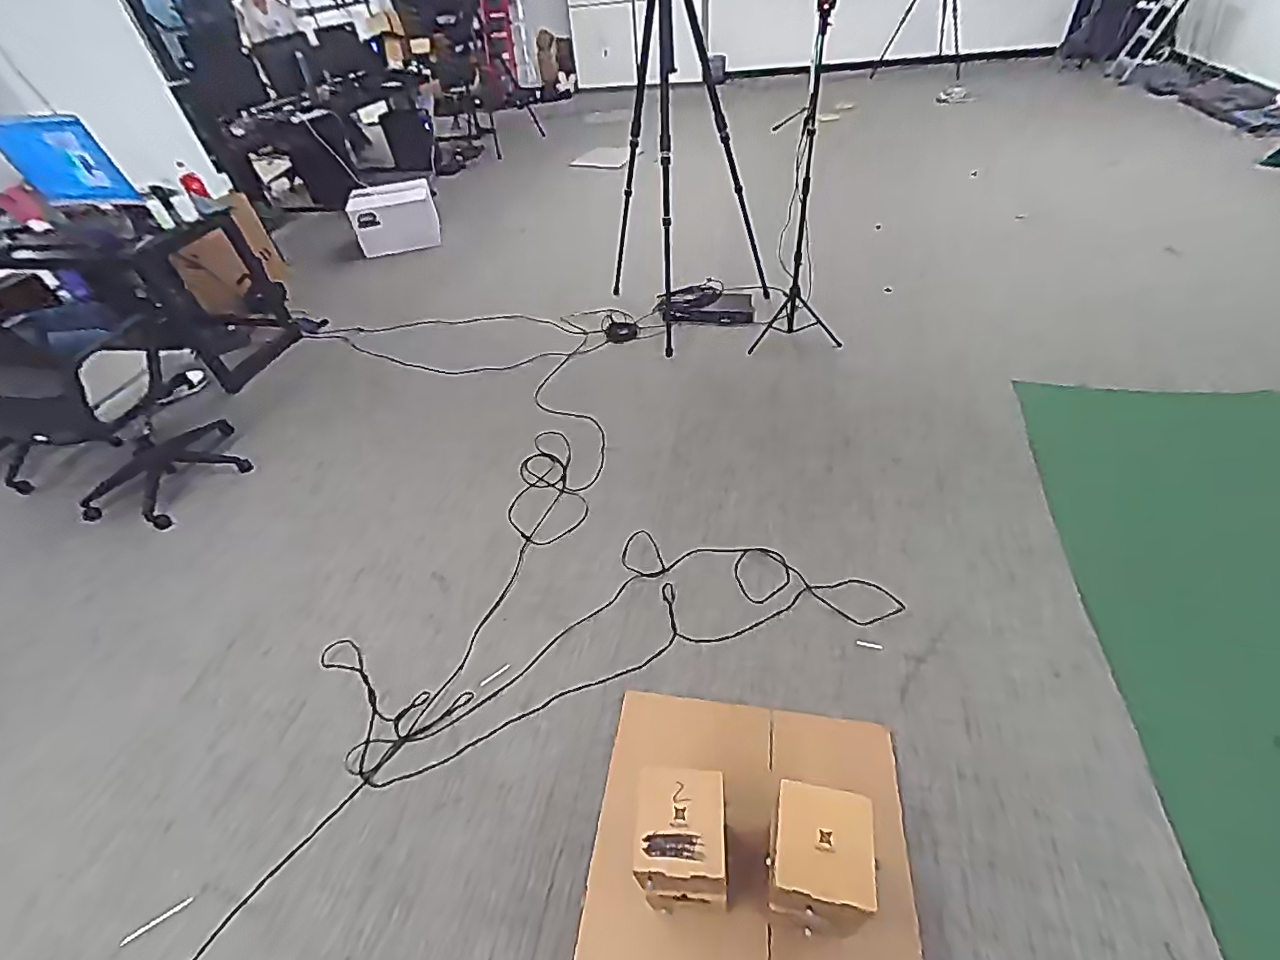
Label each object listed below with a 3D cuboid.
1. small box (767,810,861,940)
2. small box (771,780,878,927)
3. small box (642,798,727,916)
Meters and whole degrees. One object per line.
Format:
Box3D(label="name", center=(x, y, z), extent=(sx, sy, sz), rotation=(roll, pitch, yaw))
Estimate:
Box3D(label="small box", center=(0.350, 0.815, 1.116), extent=(0.168, 0.176, 0.179), rotation=(2, 46, 12))
Box3D(label="small box", center=(0.336, 0.695, 1.007), extent=(0.168, 0.176, 0.179), rotation=(5, 46, 14))
Box3D(label="small box", center=(0.102, 0.808, 1.156), extent=(0.168, 0.176, 0.179), rotation=(0, 45, 8))
